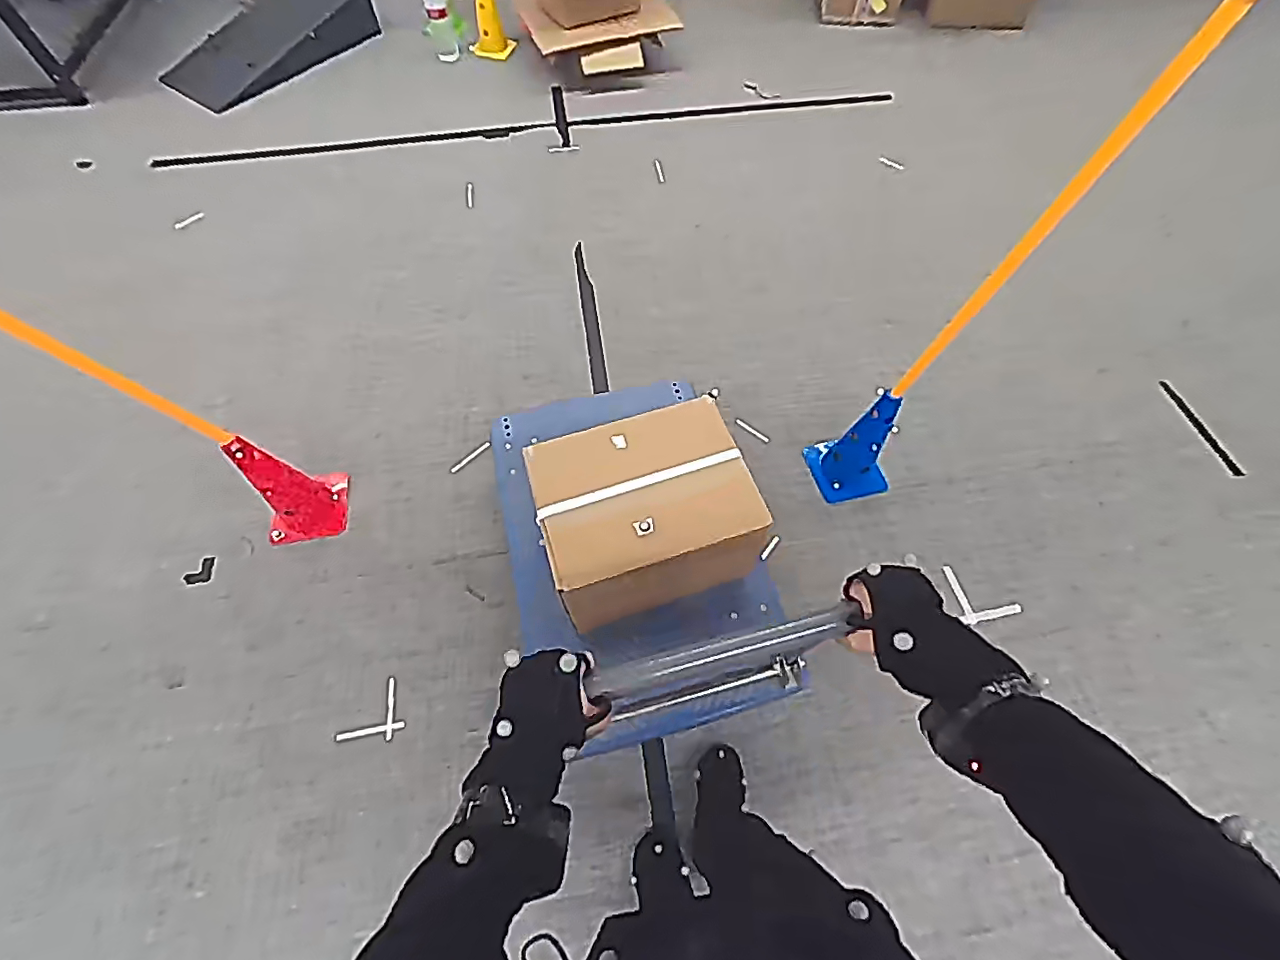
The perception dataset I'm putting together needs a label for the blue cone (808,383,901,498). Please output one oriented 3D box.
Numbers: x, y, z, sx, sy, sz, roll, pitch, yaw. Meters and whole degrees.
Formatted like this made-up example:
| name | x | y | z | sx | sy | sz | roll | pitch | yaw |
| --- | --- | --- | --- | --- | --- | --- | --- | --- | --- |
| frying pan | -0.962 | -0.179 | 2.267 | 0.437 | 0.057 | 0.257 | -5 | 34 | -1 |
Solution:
| name | x | y | z | sx | sy | sz | roll | pitch | yaw |
| --- | --- | --- | --- | --- | --- | --- | --- | --- | --- |
| blue cone | 0.613 | -0.119 | 1.458 | 0.193 | 0.380 | 0.192 | -11 | 61 | -7 |
